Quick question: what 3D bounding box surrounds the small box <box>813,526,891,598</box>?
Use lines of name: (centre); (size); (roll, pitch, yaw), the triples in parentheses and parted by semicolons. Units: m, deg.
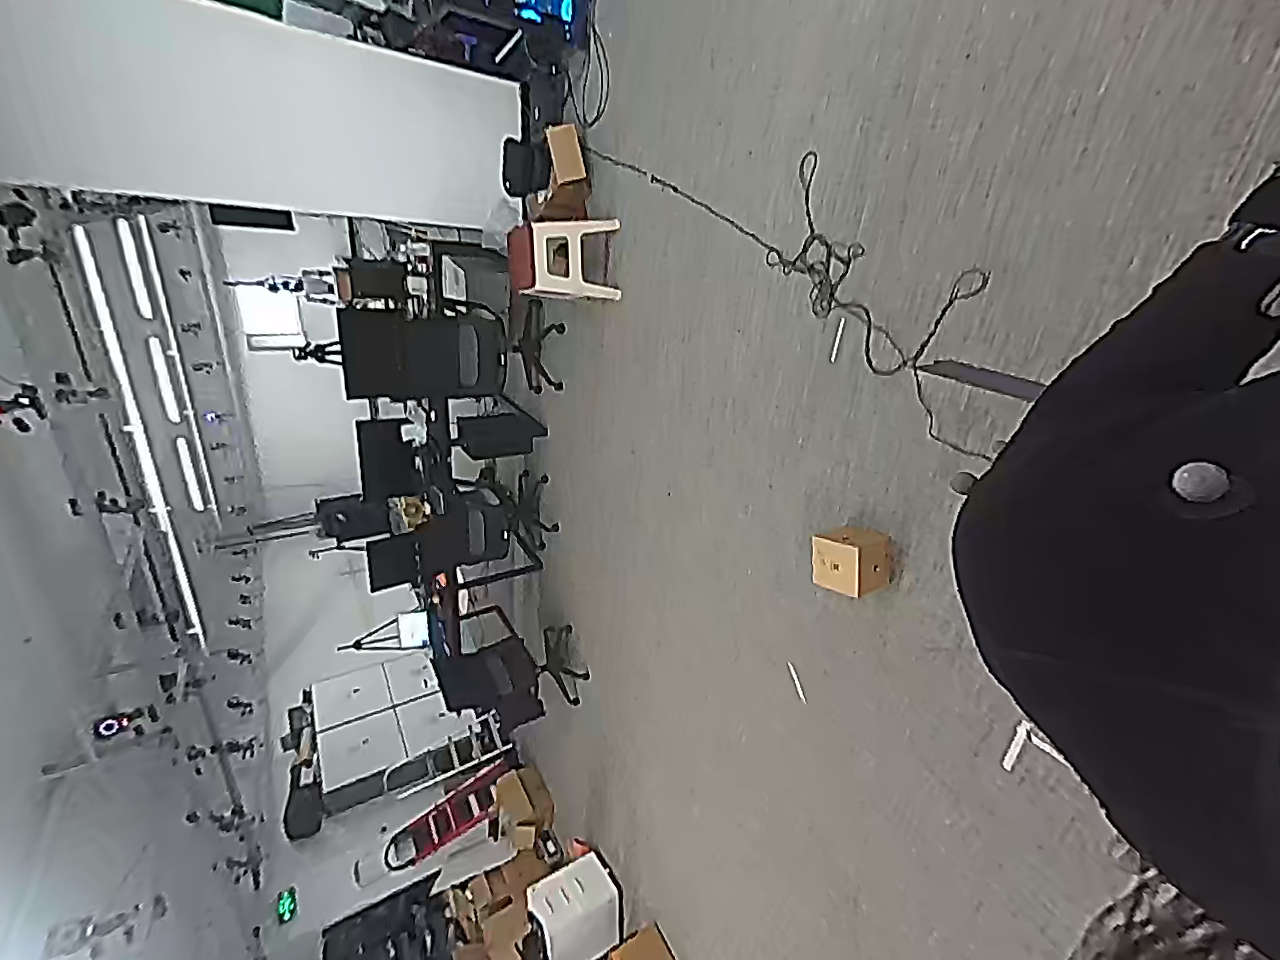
small box: (0.683, 0.255, 1.739); (0.179, 0.176, 0.168); (14, 111, 56)
